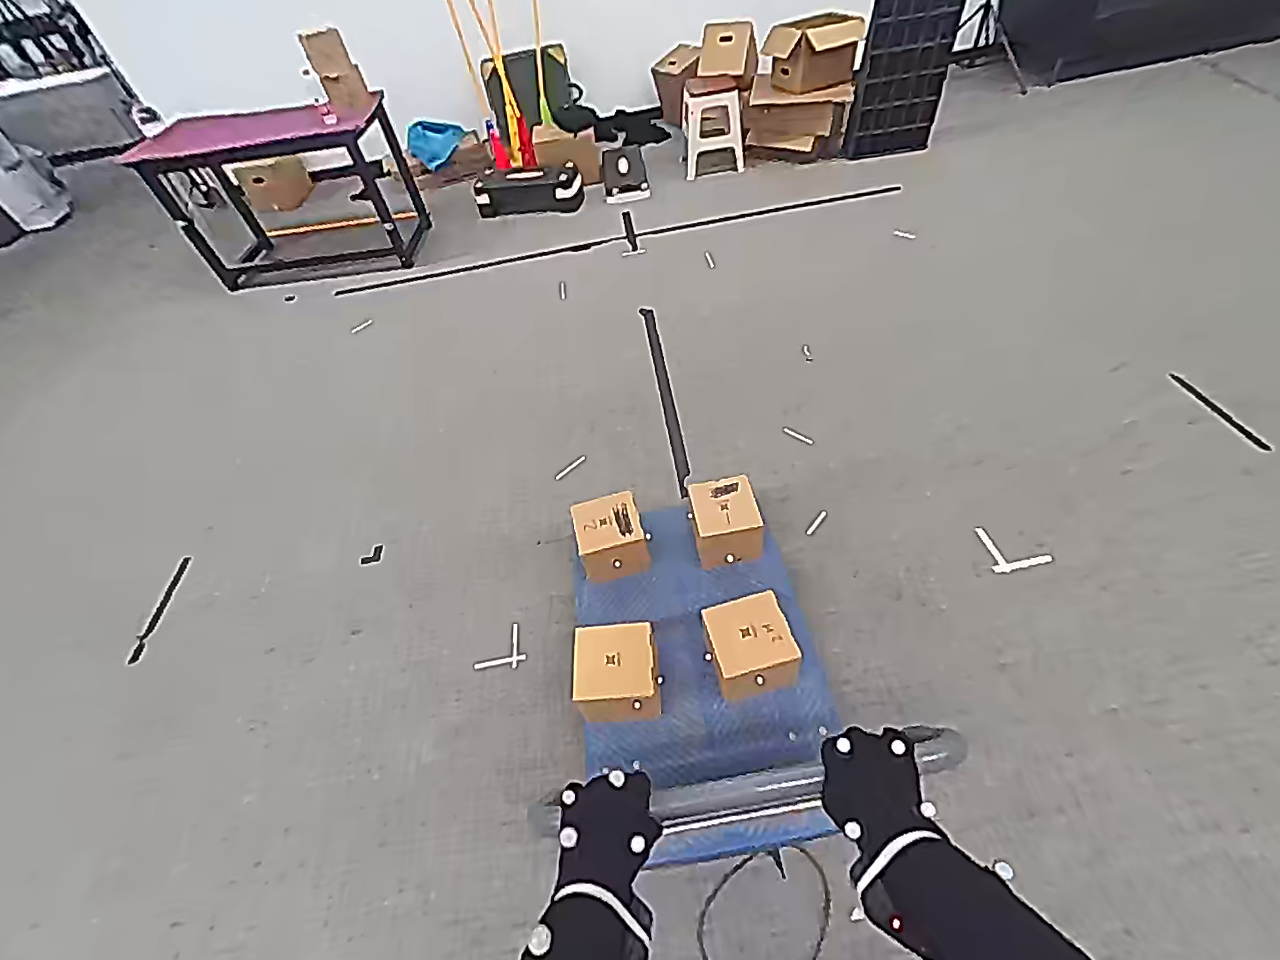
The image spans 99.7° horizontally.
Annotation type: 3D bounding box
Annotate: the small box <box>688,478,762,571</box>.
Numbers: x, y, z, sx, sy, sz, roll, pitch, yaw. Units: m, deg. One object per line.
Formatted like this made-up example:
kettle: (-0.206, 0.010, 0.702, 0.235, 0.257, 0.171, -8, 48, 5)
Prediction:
small box: (0.230, 0.124, 1.487, 0.168, 0.176, 0.179, -11, 50, 1)

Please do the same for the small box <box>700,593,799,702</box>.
small box: (0.251, 0.394, 1.257, 0.179, 0.176, 0.168, -15, 50, -3)

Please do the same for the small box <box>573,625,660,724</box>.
small box: (-0.050, 0.455, 1.256, 0.179, 0.176, 0.168, -6, 49, 3)
